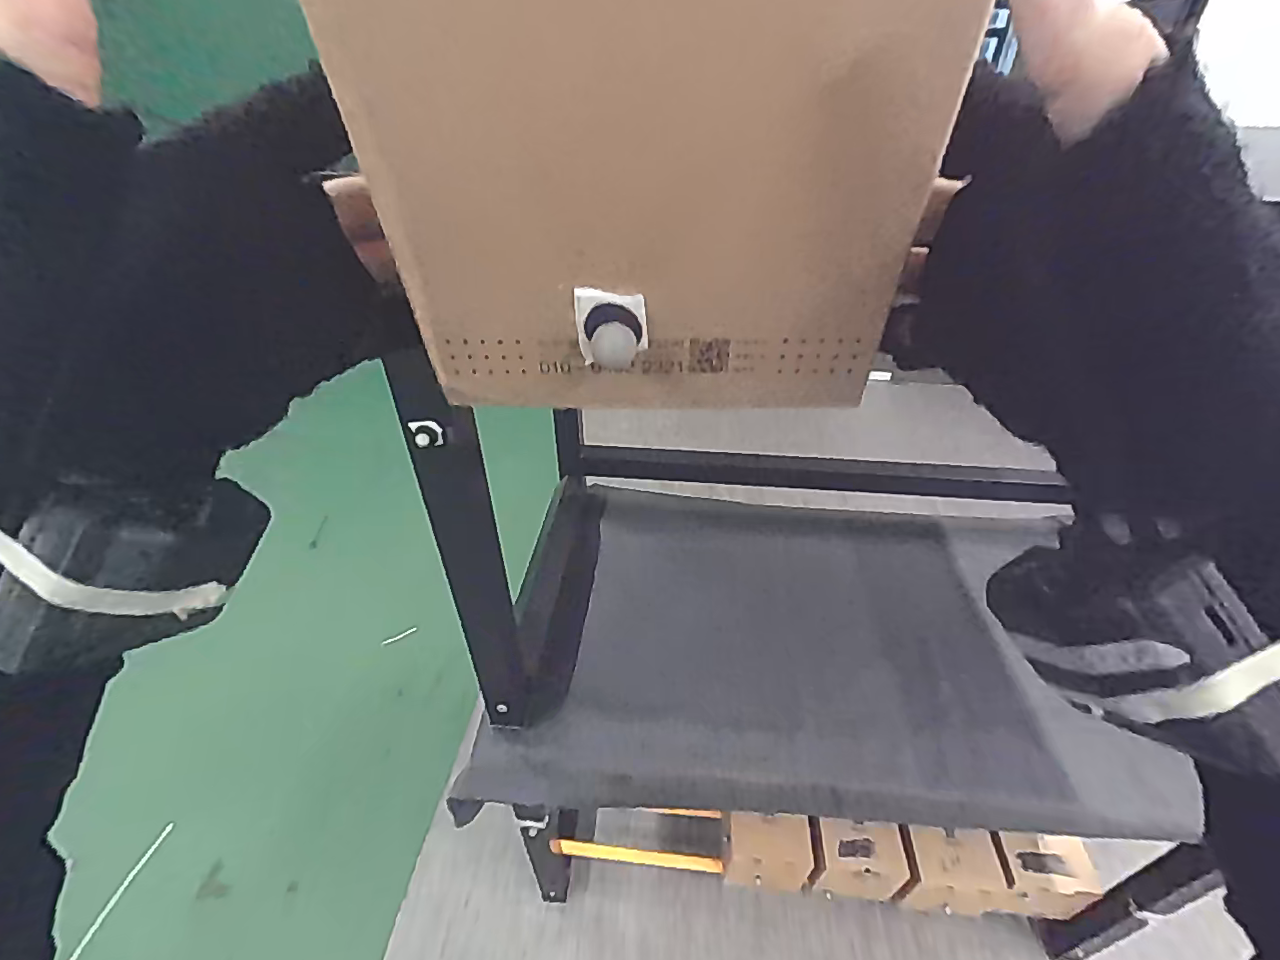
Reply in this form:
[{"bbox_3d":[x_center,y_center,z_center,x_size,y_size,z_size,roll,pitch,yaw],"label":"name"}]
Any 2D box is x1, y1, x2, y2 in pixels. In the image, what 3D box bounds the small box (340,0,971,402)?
[{"bbox_3d":[0.002,-0.150,0.220,0.168,0.176,0.179,-2,46,2],"label":"small box"}]
